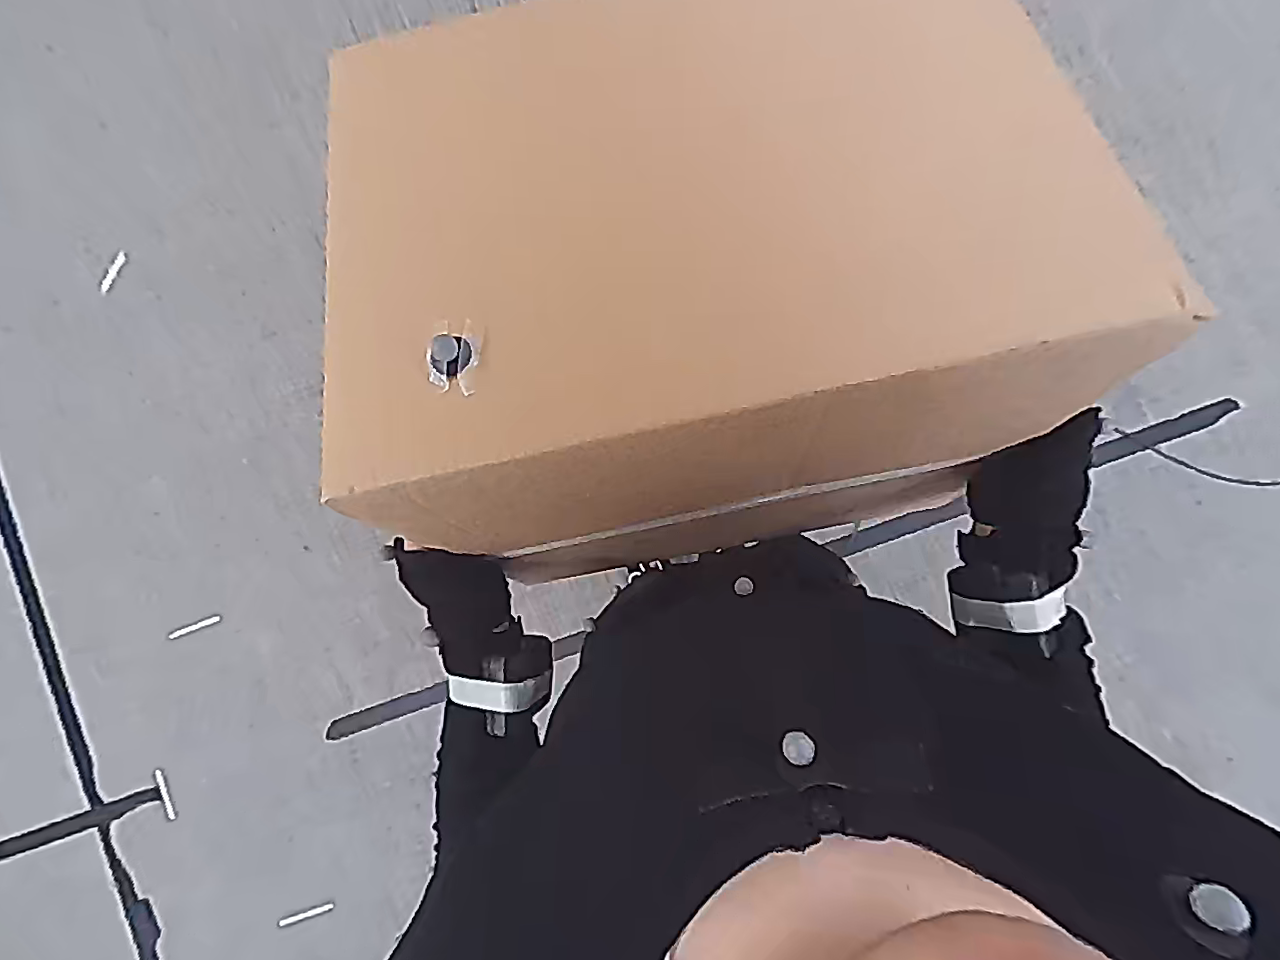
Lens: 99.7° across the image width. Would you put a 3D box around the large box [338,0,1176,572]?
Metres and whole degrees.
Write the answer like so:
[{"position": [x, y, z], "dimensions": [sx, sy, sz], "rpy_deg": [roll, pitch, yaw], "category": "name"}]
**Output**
[{"position": [0.037, -0.134, 0.441], "dimensions": [0.408, 0.320, 0.320], "rpy_deg": [-12, 72, 3], "category": "large box"}]
